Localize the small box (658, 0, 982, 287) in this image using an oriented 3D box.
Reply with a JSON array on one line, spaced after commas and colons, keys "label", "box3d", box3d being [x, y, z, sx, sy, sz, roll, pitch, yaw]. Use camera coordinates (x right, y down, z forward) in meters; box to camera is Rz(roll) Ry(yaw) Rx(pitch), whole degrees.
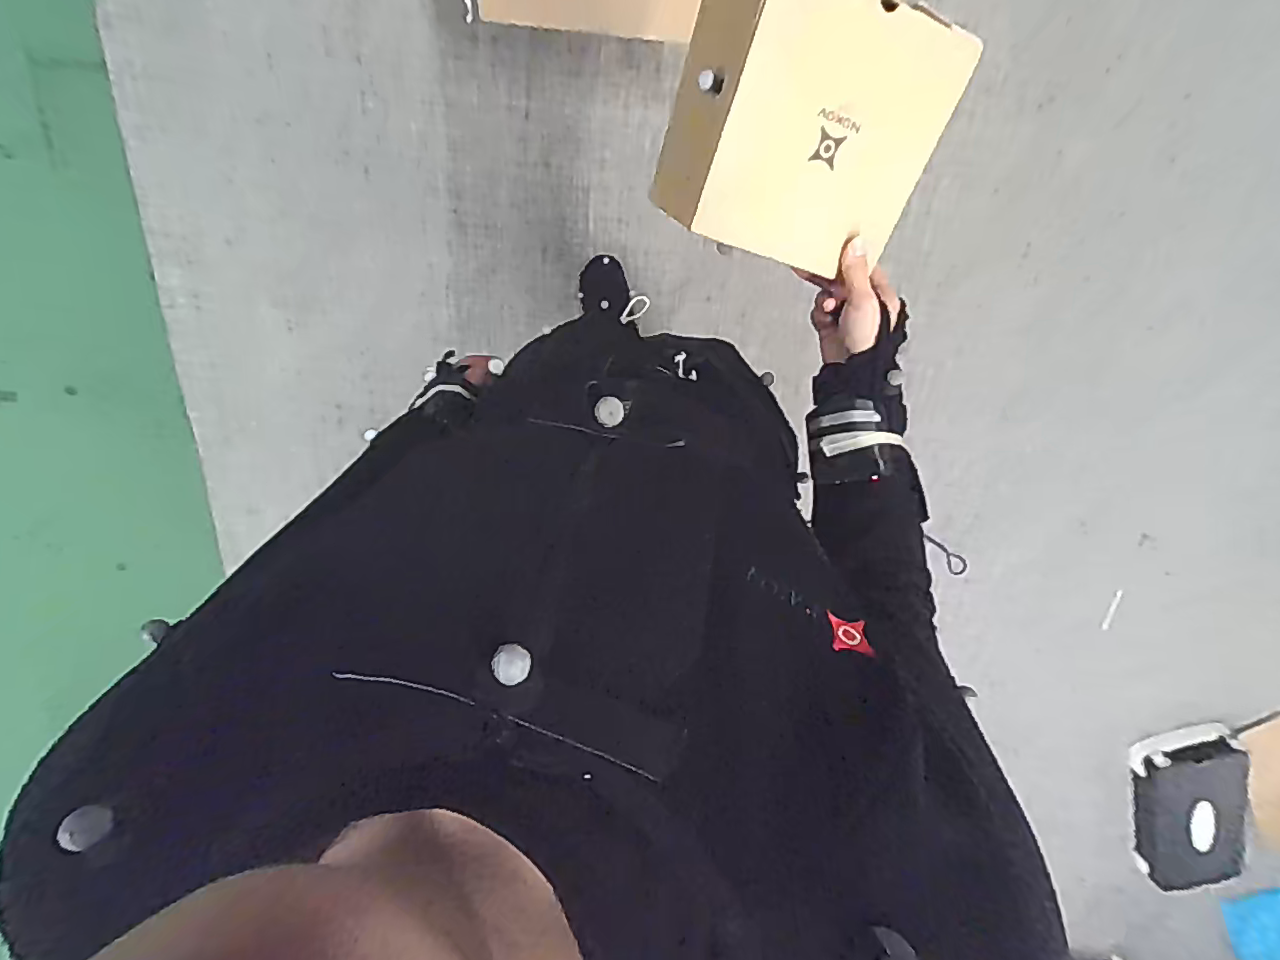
[{"label": "small box", "box3d": [0.123, -0.288, 0.455, 0.168, 0.176, 0.179, 9, 120, -18]}]
